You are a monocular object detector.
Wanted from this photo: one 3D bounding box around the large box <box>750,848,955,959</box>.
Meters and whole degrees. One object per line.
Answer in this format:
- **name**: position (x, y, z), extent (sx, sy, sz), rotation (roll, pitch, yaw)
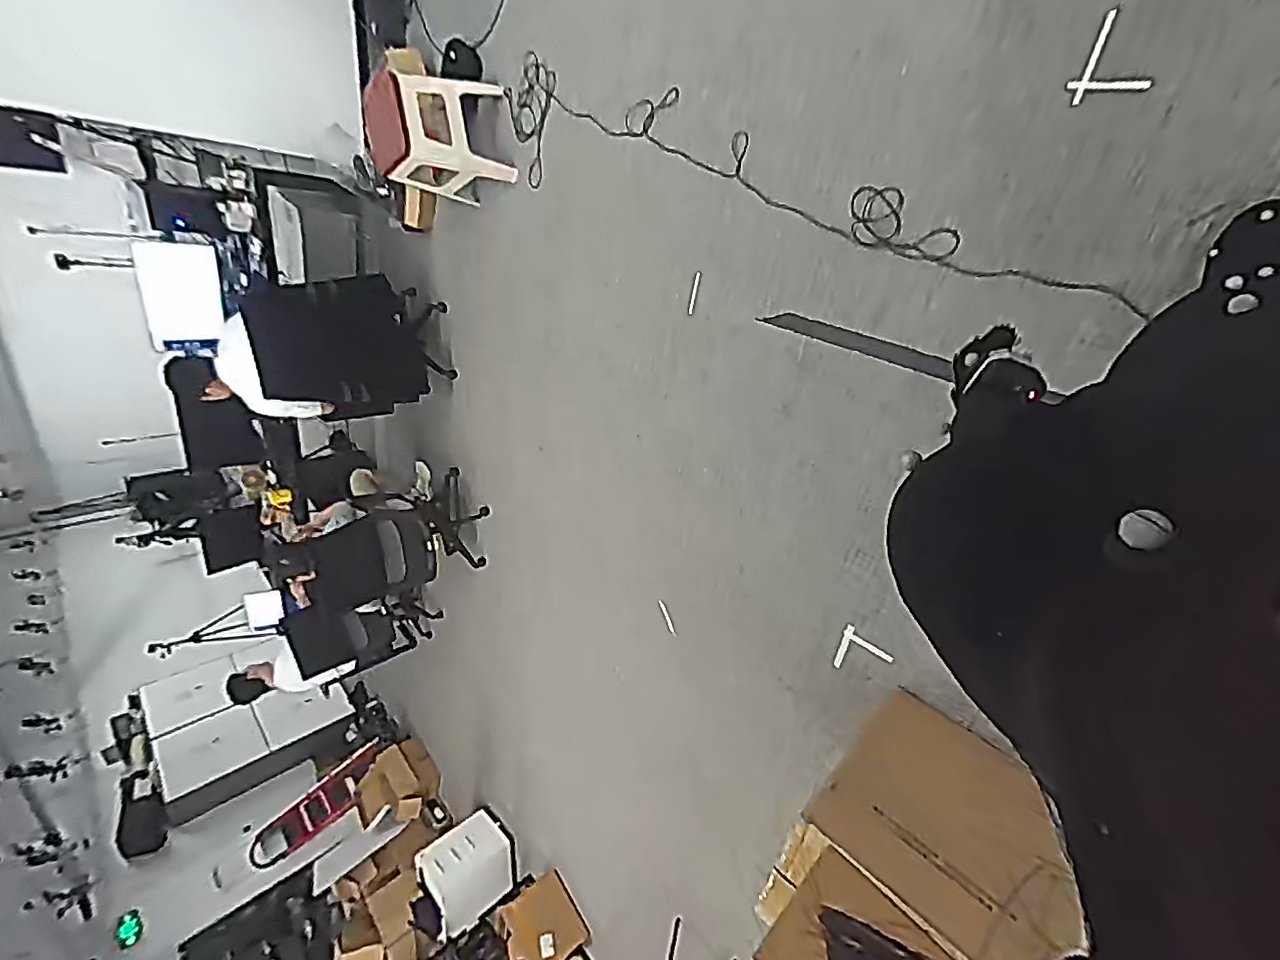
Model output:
- **large box**: position (0.427, 1.045, 1.033), extent (0.408, 0.320, 0.320), rotation (33, 124, 36)
